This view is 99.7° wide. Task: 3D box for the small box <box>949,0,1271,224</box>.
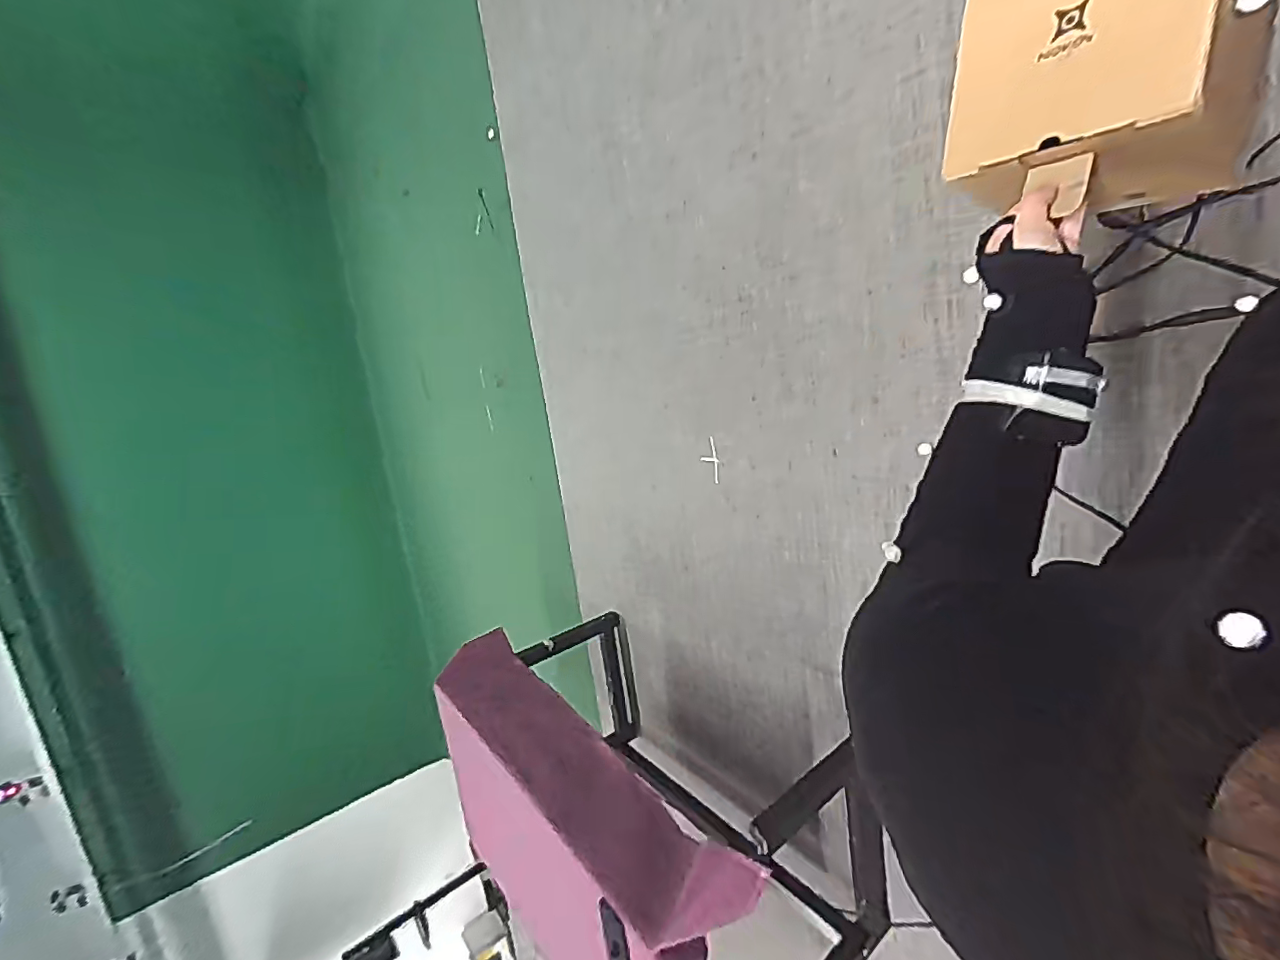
[{"bbox_3d":[0.405,-0.349,0.471,0.168,0.176,0.179,15,104,53],"label":"small box"}]
